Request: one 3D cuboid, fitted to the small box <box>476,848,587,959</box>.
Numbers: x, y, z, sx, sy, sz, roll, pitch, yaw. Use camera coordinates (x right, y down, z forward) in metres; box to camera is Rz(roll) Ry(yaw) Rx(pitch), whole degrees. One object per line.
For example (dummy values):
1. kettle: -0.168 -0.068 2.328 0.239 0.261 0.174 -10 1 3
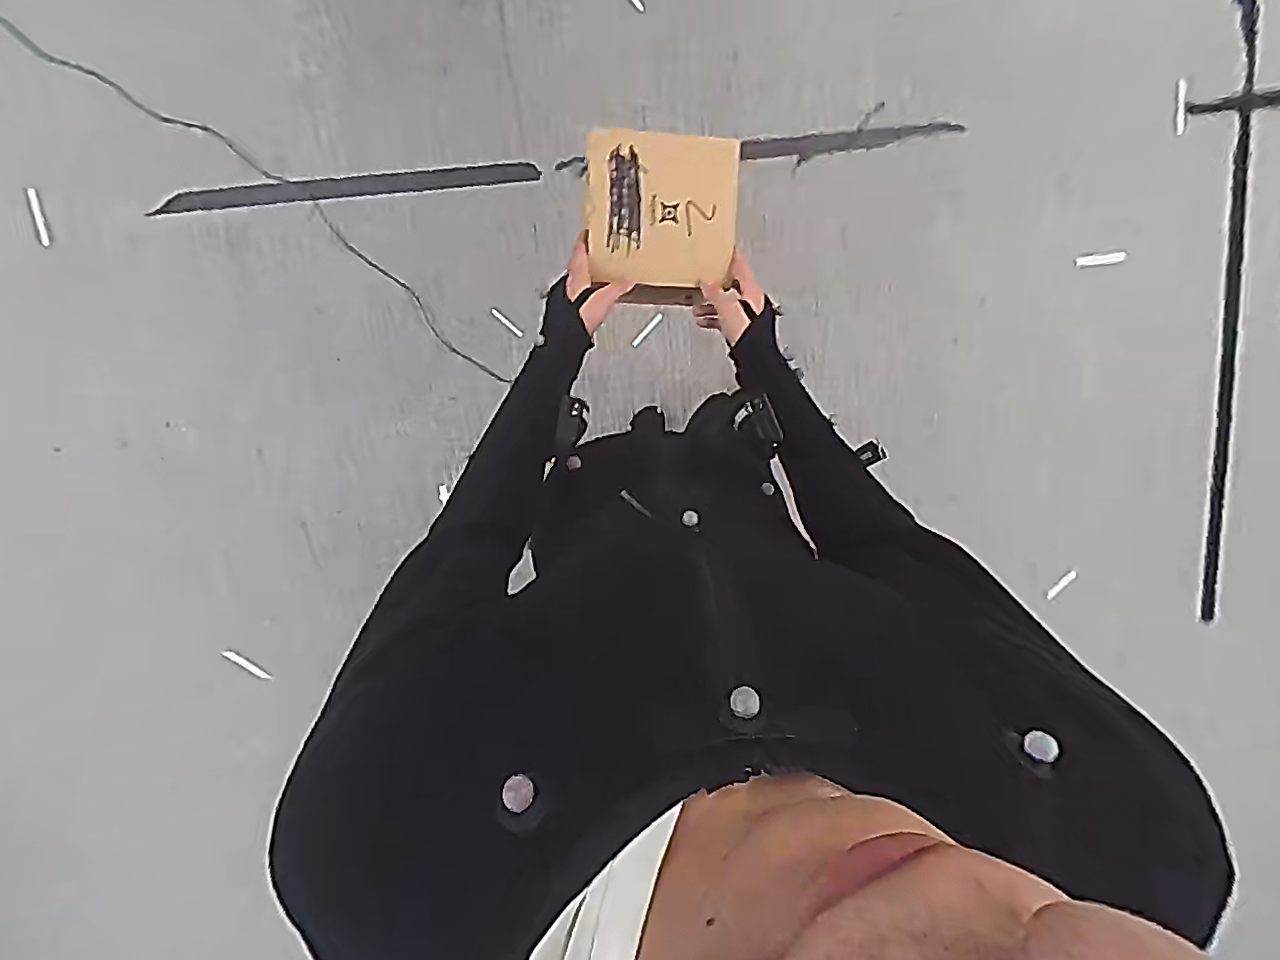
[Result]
1. small box: -0.178 0.766 0.911 0.168 0.176 0.179 4 101 -6
